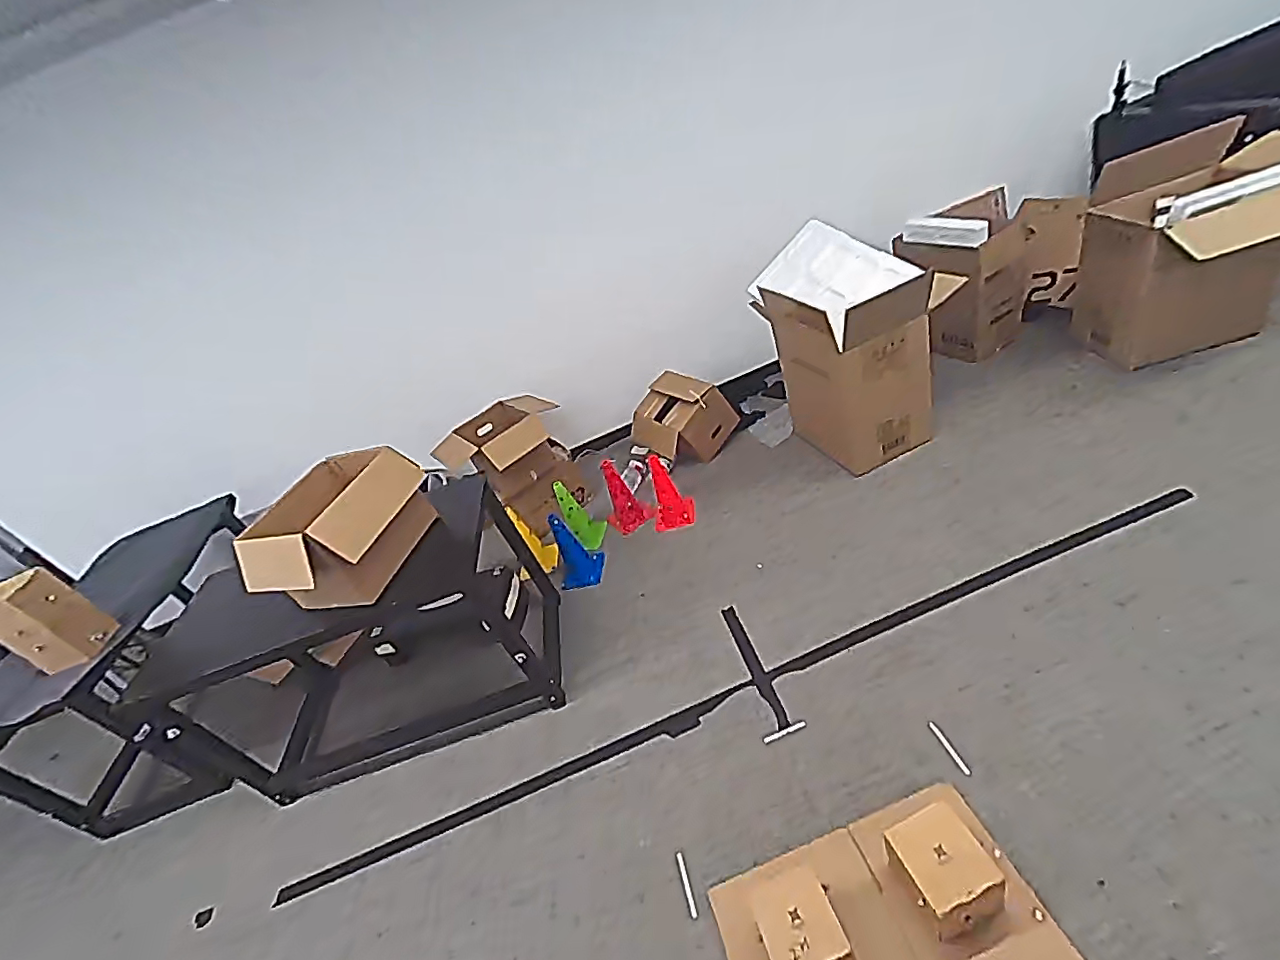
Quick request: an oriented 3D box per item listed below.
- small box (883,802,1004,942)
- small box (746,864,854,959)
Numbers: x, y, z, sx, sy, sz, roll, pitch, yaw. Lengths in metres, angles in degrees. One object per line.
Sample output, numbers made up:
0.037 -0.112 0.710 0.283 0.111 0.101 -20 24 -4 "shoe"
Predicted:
0.676 0.881 1.217 0.168 0.176 0.179 -26 34 -5 "small box"
0.360 1.014 1.206 0.168 0.176 0.179 -25 34 -2 "small box"
